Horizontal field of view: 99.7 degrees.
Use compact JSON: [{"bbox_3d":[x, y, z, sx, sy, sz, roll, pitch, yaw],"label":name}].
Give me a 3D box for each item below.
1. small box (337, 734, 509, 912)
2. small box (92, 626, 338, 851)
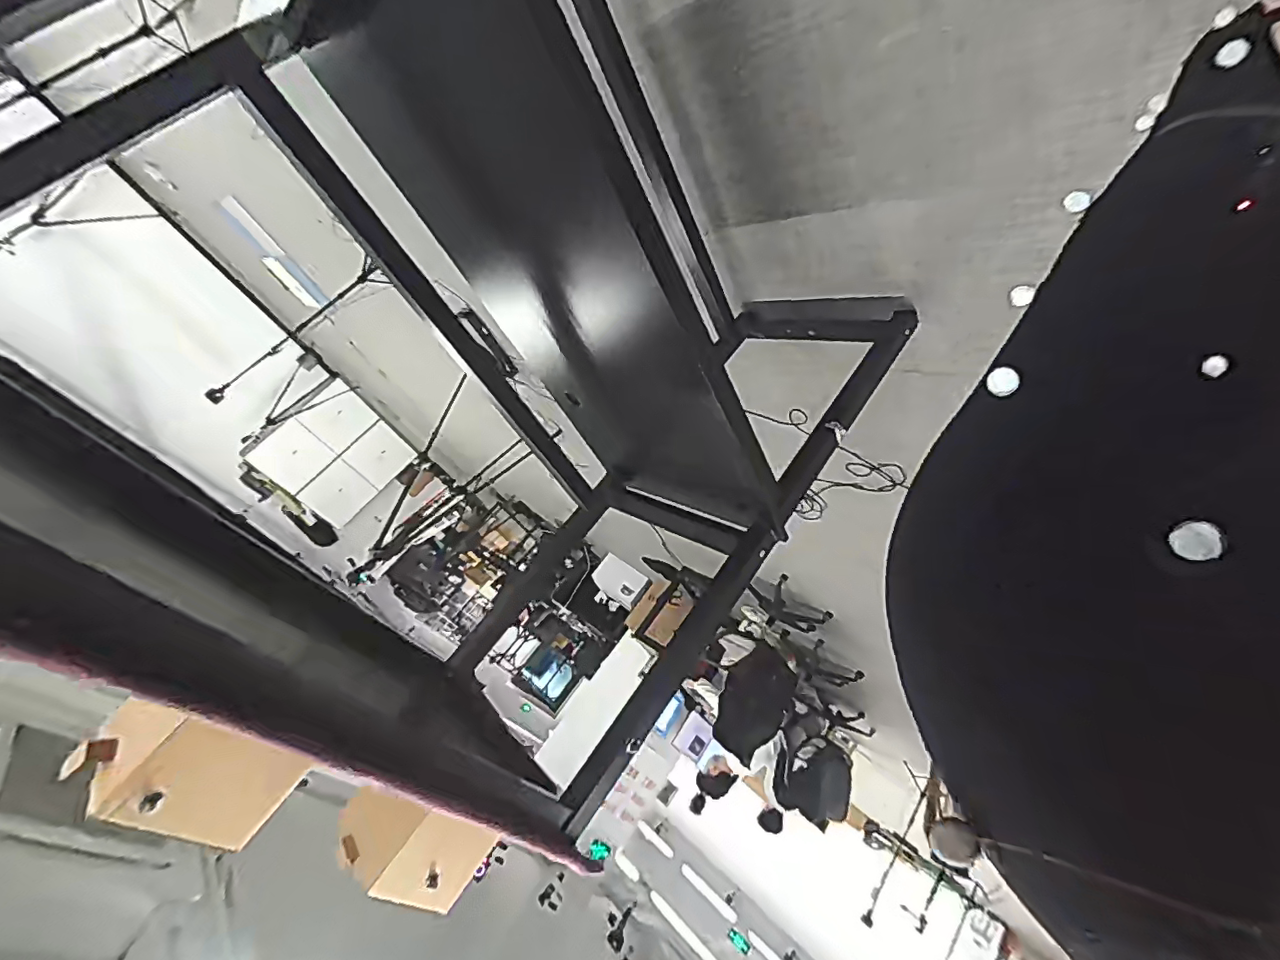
[{"bbox_3d":[-0.355,0.565,0.903,0.168,0.176,0.179,17,150,46],"label":"small box"},{"bbox_3d":[-0.531,0.324,0.697,0.168,0.176,0.179,20,153,47],"label":"small box"}]
